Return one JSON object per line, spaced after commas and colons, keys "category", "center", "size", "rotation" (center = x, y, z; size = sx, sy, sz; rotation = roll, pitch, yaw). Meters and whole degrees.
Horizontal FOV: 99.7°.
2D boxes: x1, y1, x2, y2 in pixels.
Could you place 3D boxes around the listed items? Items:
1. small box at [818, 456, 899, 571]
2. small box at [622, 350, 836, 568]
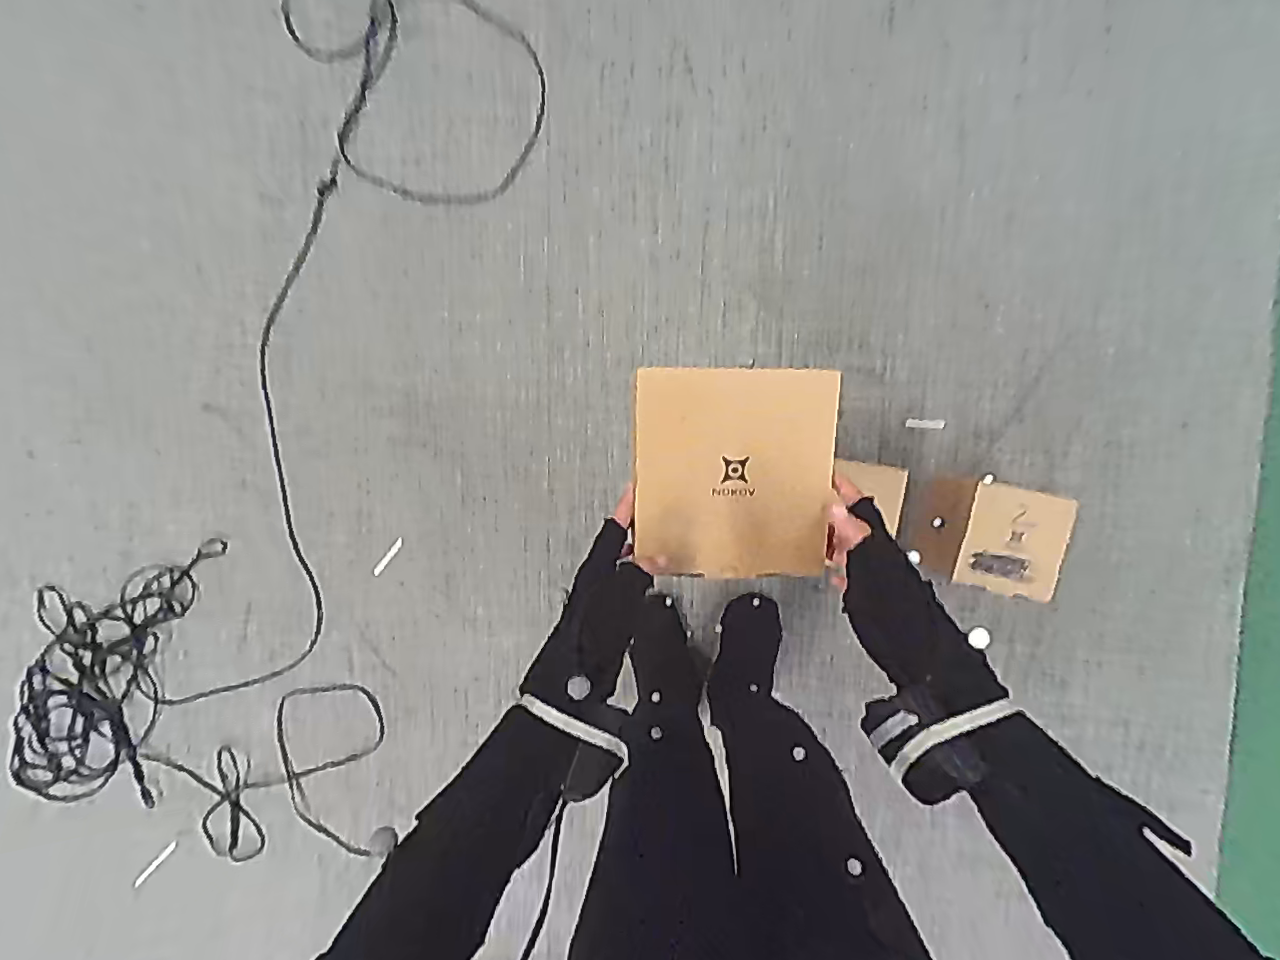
{"category": "small box", "center": [0.336, 0.046, 0.976], "size": [0.168, 0.176, 0.179], "rotation": [10, 96, 3]}
{"category": "small box", "center": [0.068, -0.028, 0.515], "size": [0.168, 0.176, 0.179], "rotation": [1, 101, -2]}
